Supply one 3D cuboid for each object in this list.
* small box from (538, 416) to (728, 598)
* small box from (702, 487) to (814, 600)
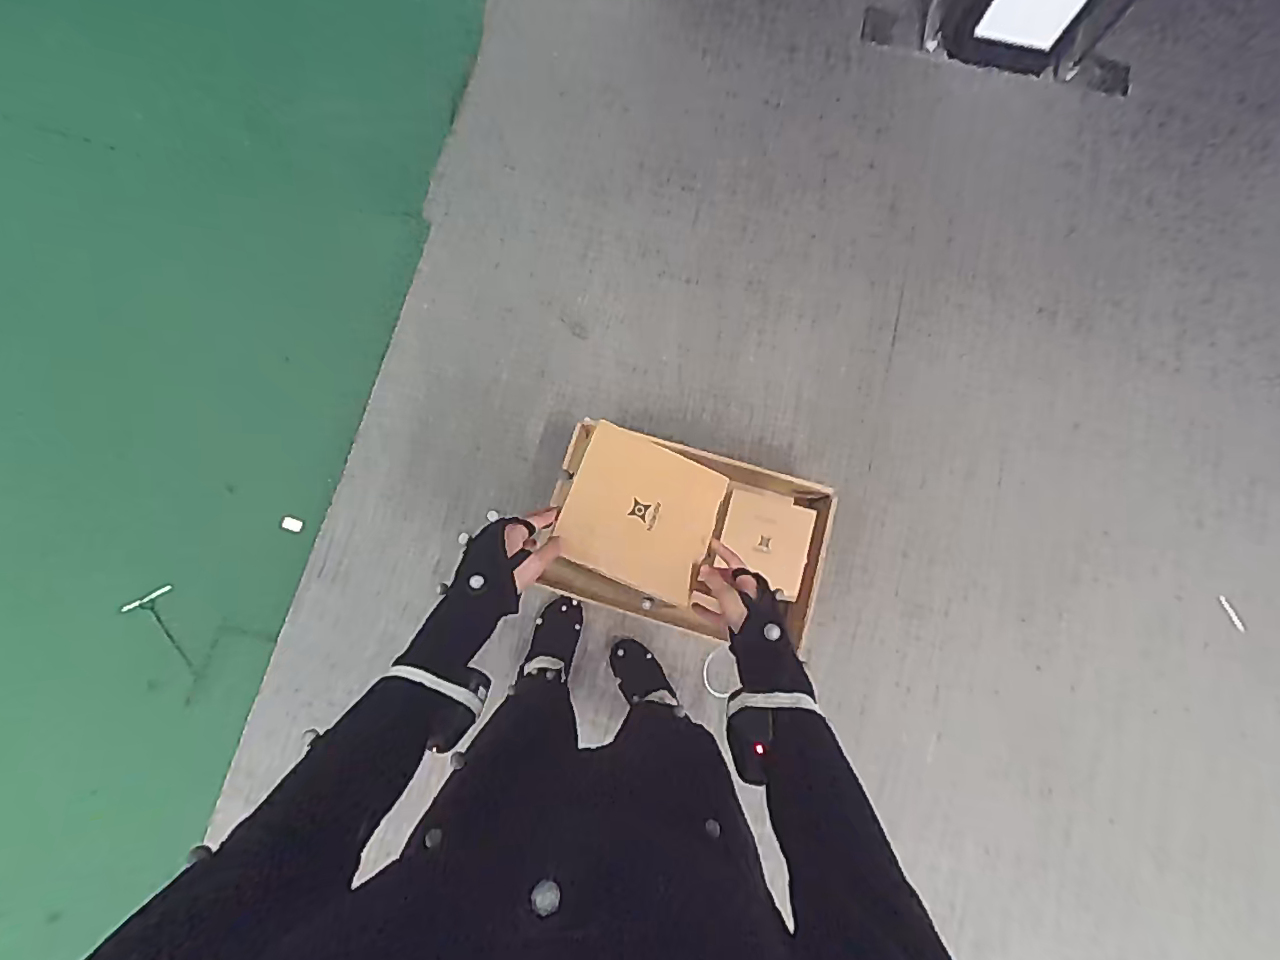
[{"bbox_3d":[-0.019,0.047,0.693,0.179,0.176,0.168,24,73,-10],"label":"small box"},{"bbox_3d":[0.228,0.131,1.088,0.168,0.176,0.179,17,80,2],"label":"small box"}]
